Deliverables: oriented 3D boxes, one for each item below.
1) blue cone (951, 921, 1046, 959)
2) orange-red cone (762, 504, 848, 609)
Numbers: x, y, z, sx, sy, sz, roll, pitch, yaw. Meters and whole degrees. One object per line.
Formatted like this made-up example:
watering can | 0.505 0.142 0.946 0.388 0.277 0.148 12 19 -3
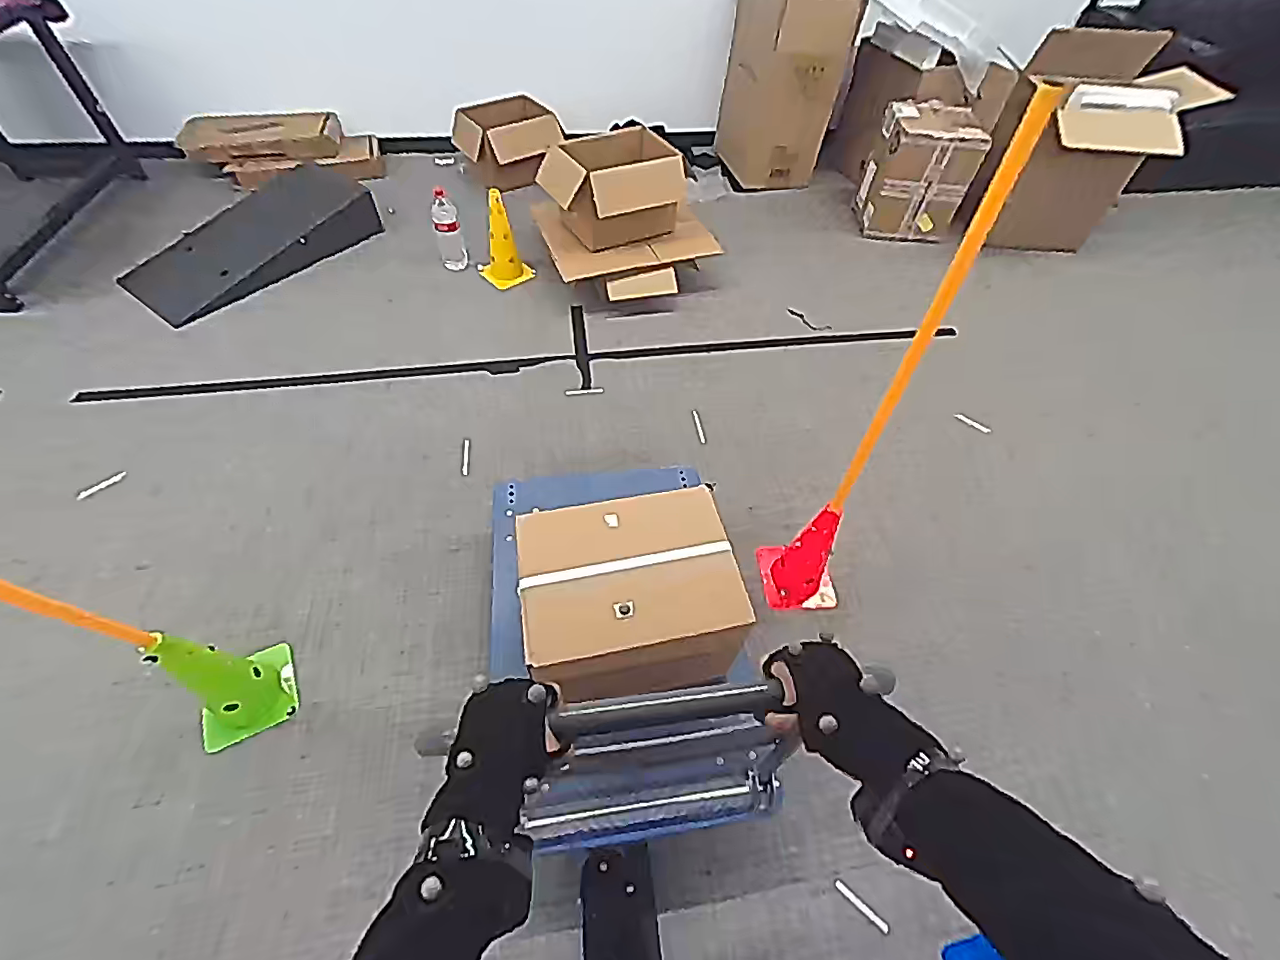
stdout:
blue cone | 0.724 0.887 0.908 0.193 0.380 0.192 -8 53 -10
orange-red cone | 0.467 0.176 1.416 0.199 0.360 0.198 0 53 -4
